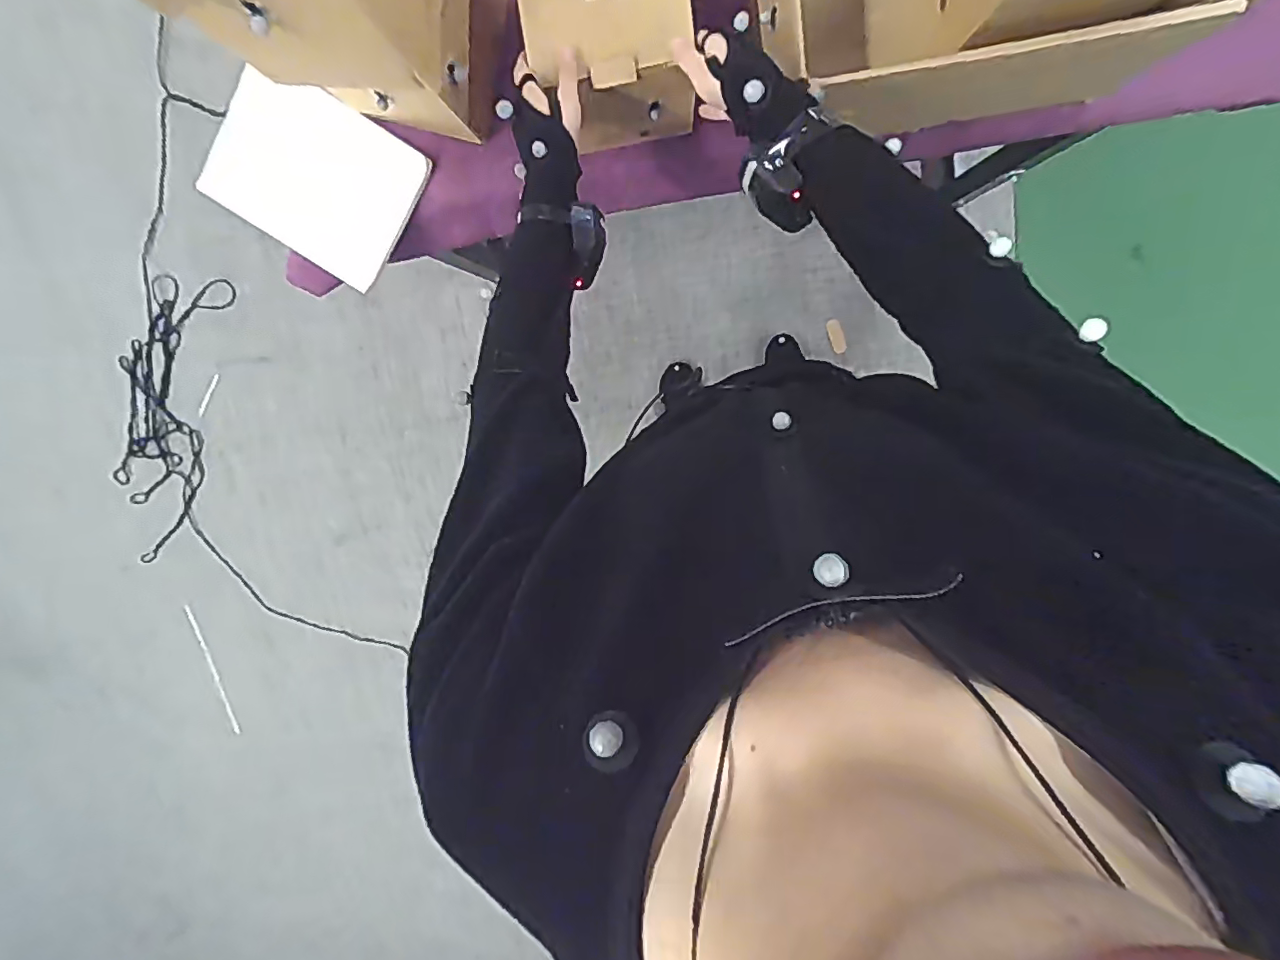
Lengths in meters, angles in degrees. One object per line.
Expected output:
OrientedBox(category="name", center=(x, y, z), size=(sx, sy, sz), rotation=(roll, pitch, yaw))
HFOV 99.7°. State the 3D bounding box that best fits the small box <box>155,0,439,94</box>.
OrientedBox(category="small box", center=(-0.280, -0.454, 0.451), size=(0.179, 0.176, 0.168), rotation=(5, 102, 4))
